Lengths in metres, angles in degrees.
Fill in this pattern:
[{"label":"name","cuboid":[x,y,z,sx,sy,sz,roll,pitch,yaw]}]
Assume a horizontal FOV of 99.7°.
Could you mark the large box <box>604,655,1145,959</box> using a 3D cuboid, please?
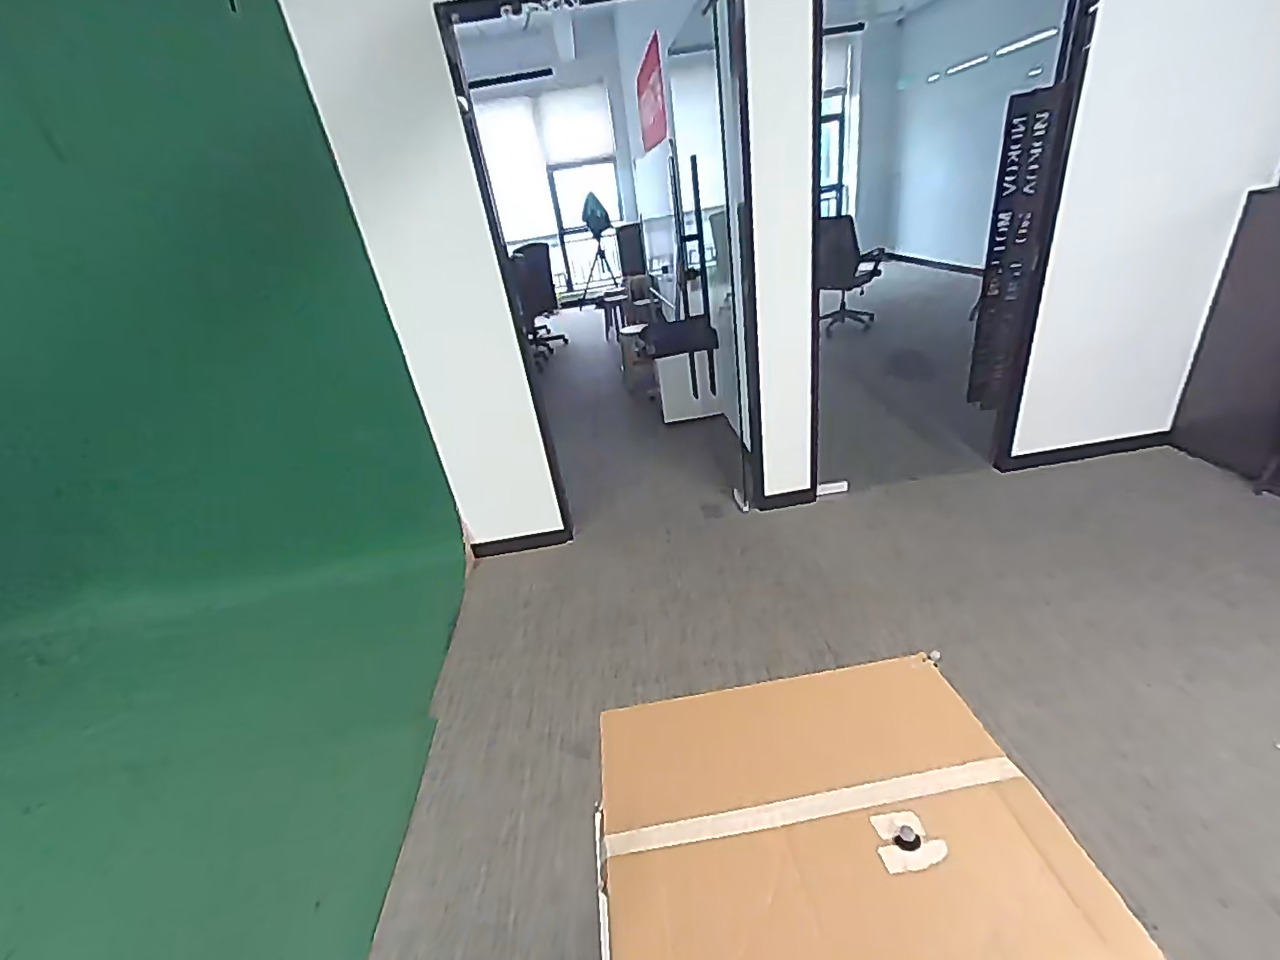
[{"label":"large box","cuboid":[0.185,0.447,0.592,0.408,0.320,0.320,-9,28,-3]}]
